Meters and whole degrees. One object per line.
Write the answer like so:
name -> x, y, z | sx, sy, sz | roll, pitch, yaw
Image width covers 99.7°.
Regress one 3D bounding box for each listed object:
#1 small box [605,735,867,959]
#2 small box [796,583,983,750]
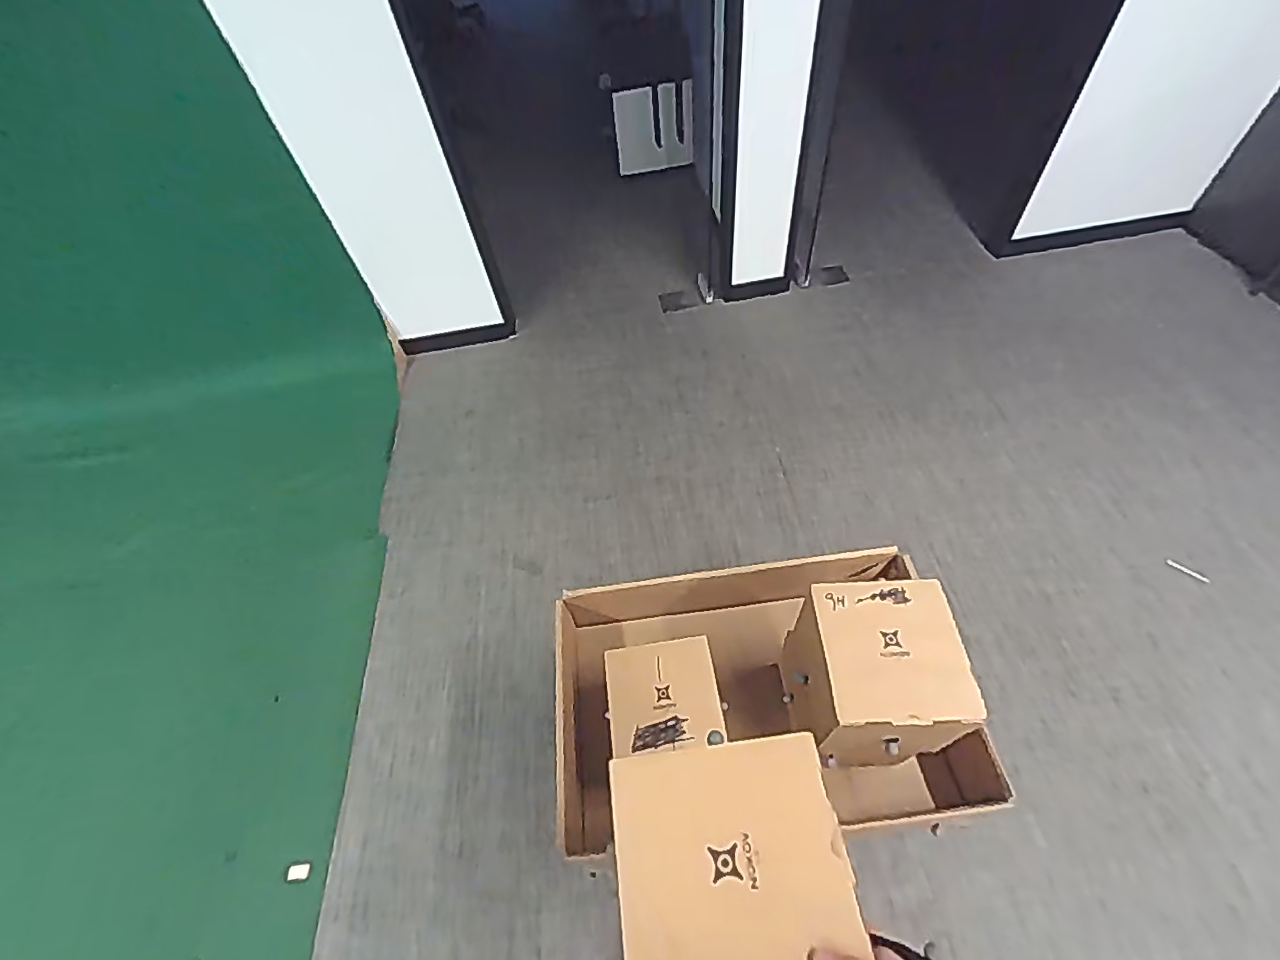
small box -> 0.072, 0.340, 0.474 | 0.179, 0.176, 0.168 | -8, 53, 0
small box -> 0.310, 0.252, 0.716 | 0.168, 0.176, 0.179 | -3, 54, 5
